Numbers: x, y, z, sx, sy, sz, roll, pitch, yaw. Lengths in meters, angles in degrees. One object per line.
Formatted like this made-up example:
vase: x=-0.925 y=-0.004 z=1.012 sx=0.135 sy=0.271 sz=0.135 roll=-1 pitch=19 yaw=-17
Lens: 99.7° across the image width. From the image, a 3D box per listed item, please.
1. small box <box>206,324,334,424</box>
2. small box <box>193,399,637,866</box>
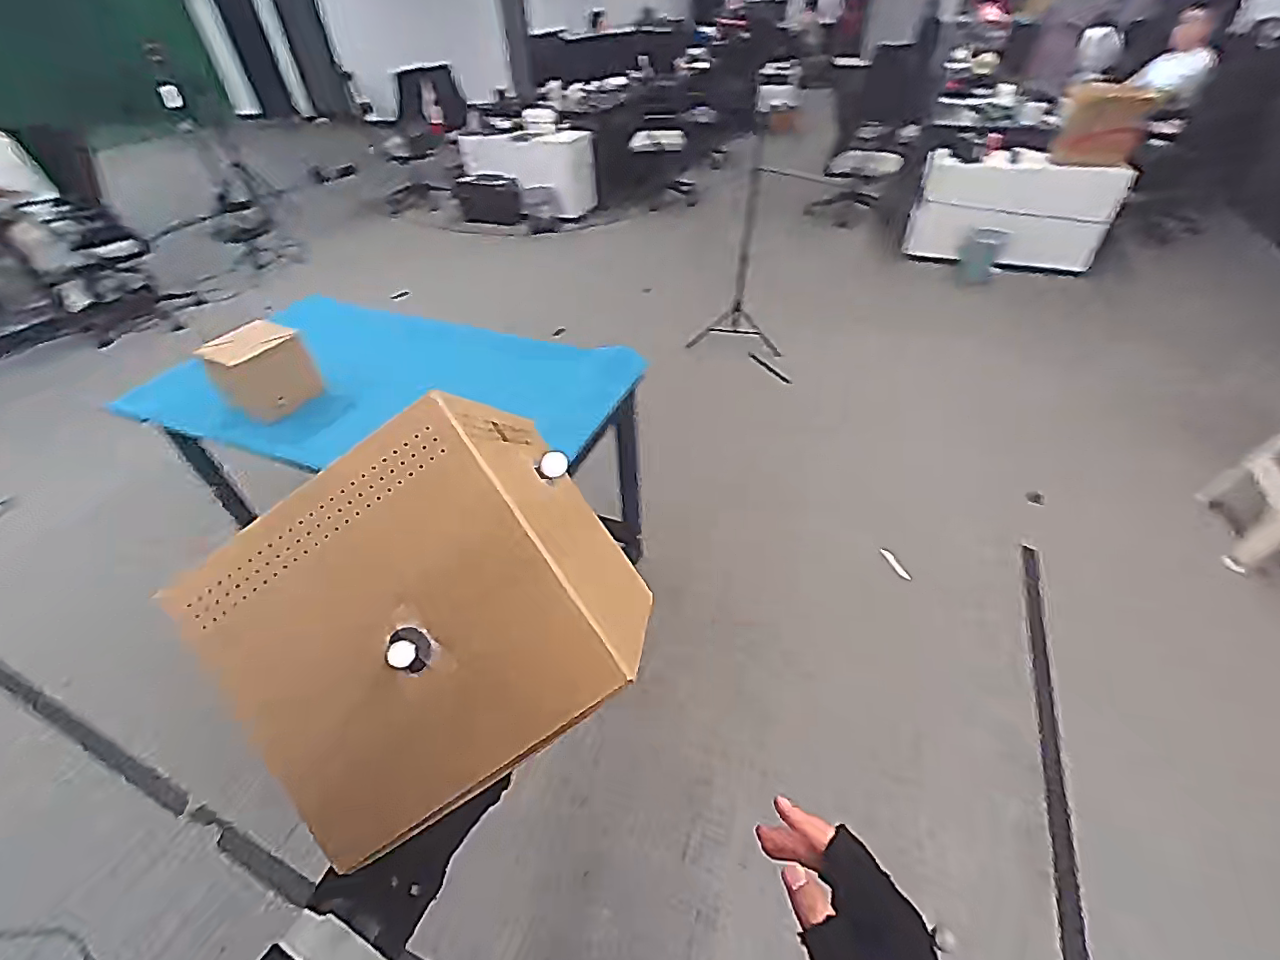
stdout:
small box: x=-0.929 y=-0.273 z=1.361 sx=0.168 sy=0.176 sz=0.179 roll=19 pitch=47 yaw=21
small box: x=-0.124 y=0.075 z=0.341 sx=0.179 sy=0.168 sz=0.176 roll=-37 pitch=89 yaw=3
